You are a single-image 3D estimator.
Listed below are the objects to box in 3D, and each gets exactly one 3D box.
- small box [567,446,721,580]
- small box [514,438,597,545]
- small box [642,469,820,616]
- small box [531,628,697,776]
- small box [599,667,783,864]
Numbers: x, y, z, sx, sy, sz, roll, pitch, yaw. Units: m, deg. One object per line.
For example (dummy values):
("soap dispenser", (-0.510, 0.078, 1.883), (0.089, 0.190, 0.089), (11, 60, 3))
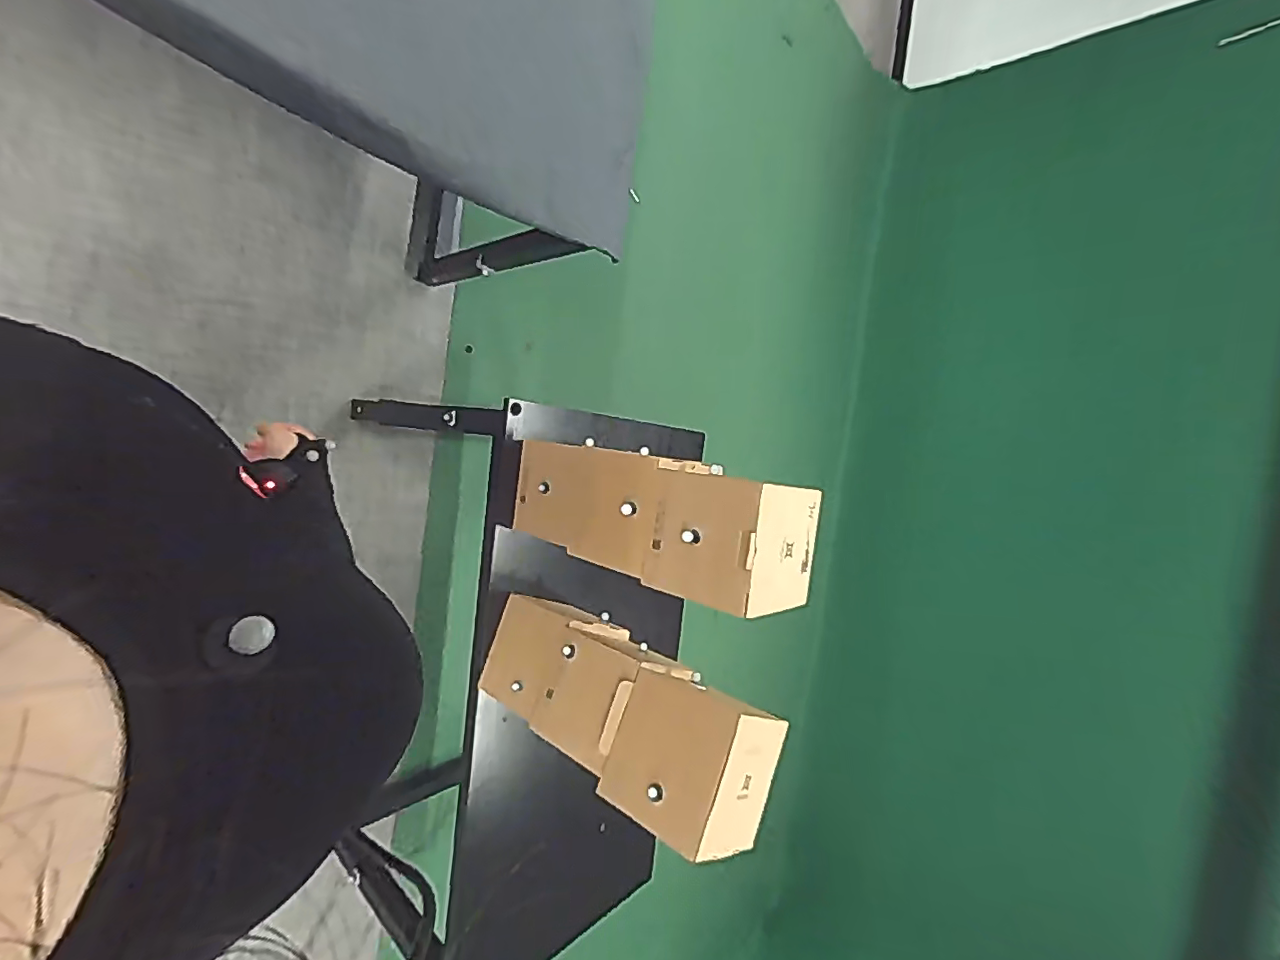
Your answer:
("small box", (0.004, 0.047, 0.855), (0.168, 0.176, 0.179), (4, 94, -48))
("small box", (-0.105, 0.019, 0.973), (0.179, 0.176, 0.168), (4, 95, -49))
("small box", (0.123, 0.079, 0.746), (0.179, 0.176, 0.168), (6, 92, -48))
("small box", (-0.043, 0.349, 0.862), (0.179, 0.176, 0.168), (32, 75, -48))
("small box", (0.068, 0.383, 0.747), (0.168, 0.176, 0.179), (35, 72, -48))
